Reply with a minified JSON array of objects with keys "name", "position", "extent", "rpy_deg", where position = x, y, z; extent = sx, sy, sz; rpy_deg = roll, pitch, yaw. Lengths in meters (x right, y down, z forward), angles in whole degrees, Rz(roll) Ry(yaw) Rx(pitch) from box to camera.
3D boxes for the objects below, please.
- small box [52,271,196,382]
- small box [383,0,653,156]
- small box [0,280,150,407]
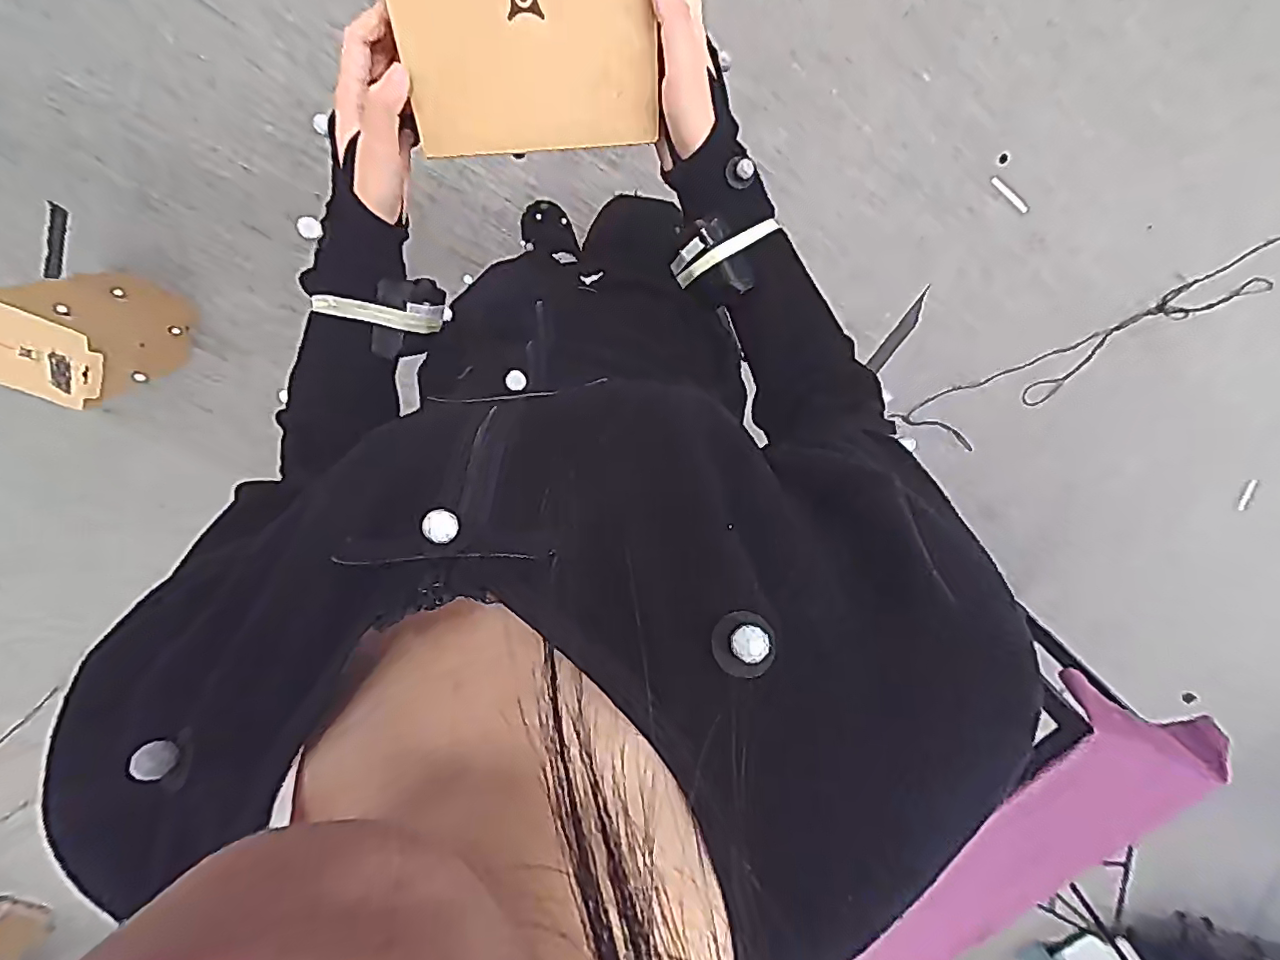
[{"name":"small box","position":[-1.141,-0.349,1.205],"extent":[0.179,0.176,0.168],"rpy_deg":[22,113,-17]},{"name":"small box","position":[-0.082,-0.350,0.384],"extent":[0.168,0.176,0.179],"rpy_deg":[-7,131,-5]},{"name":"small box","position":[-1.119,-0.273,1.060],"extent":[0.179,0.176,0.168],"rpy_deg":[22,113,-18]}]
